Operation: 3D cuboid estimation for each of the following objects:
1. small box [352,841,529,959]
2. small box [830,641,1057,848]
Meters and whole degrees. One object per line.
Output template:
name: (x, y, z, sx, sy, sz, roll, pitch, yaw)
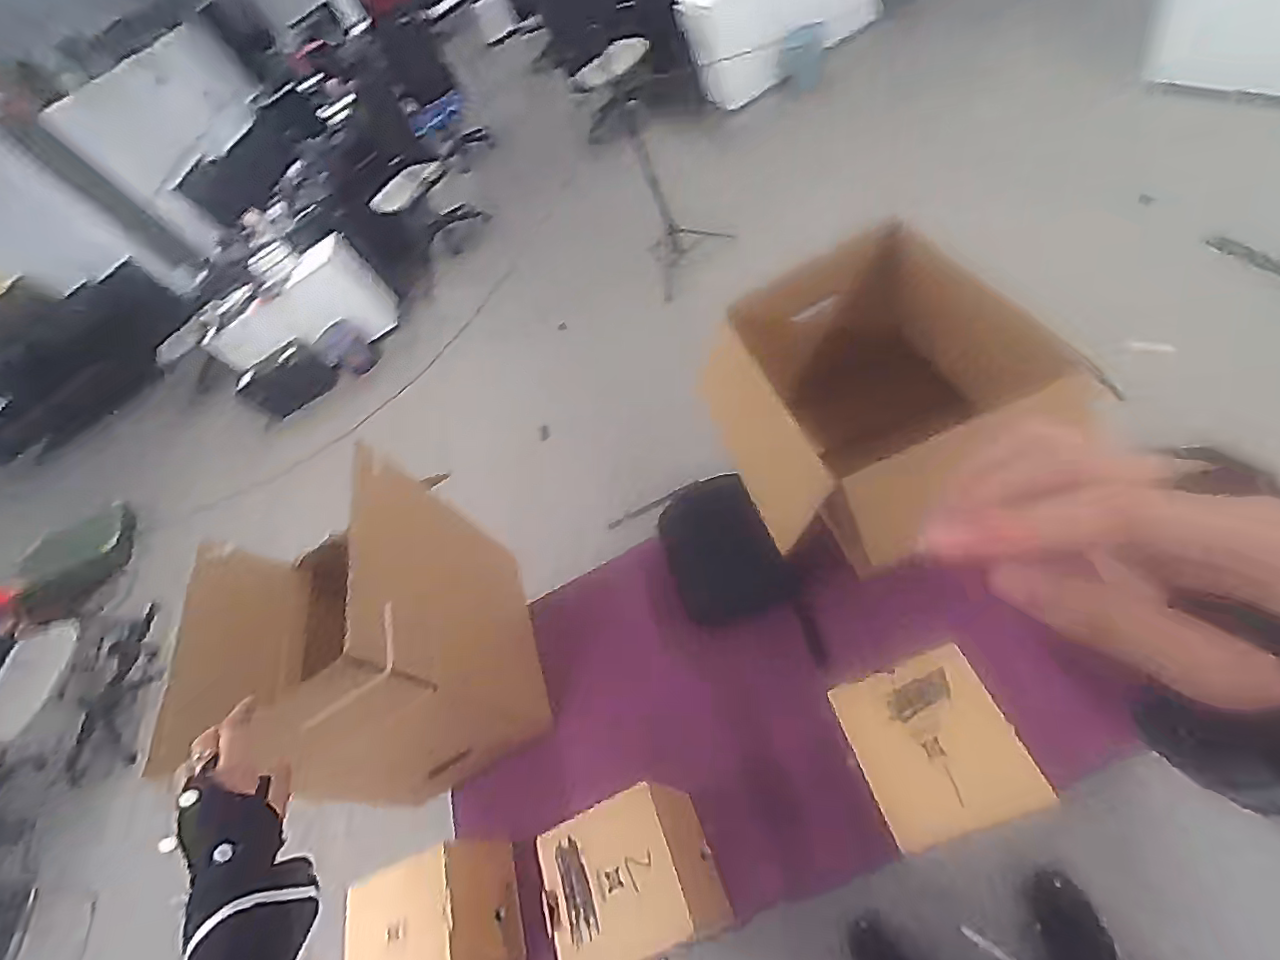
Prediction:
small box: (-0.290, 0.659, 0.792, 0.179, 0.176, 0.168, -30, 49, 6)
small box: (0.358, 0.331, 0.666, 0.168, 0.176, 0.179, -27, 50, 10)
